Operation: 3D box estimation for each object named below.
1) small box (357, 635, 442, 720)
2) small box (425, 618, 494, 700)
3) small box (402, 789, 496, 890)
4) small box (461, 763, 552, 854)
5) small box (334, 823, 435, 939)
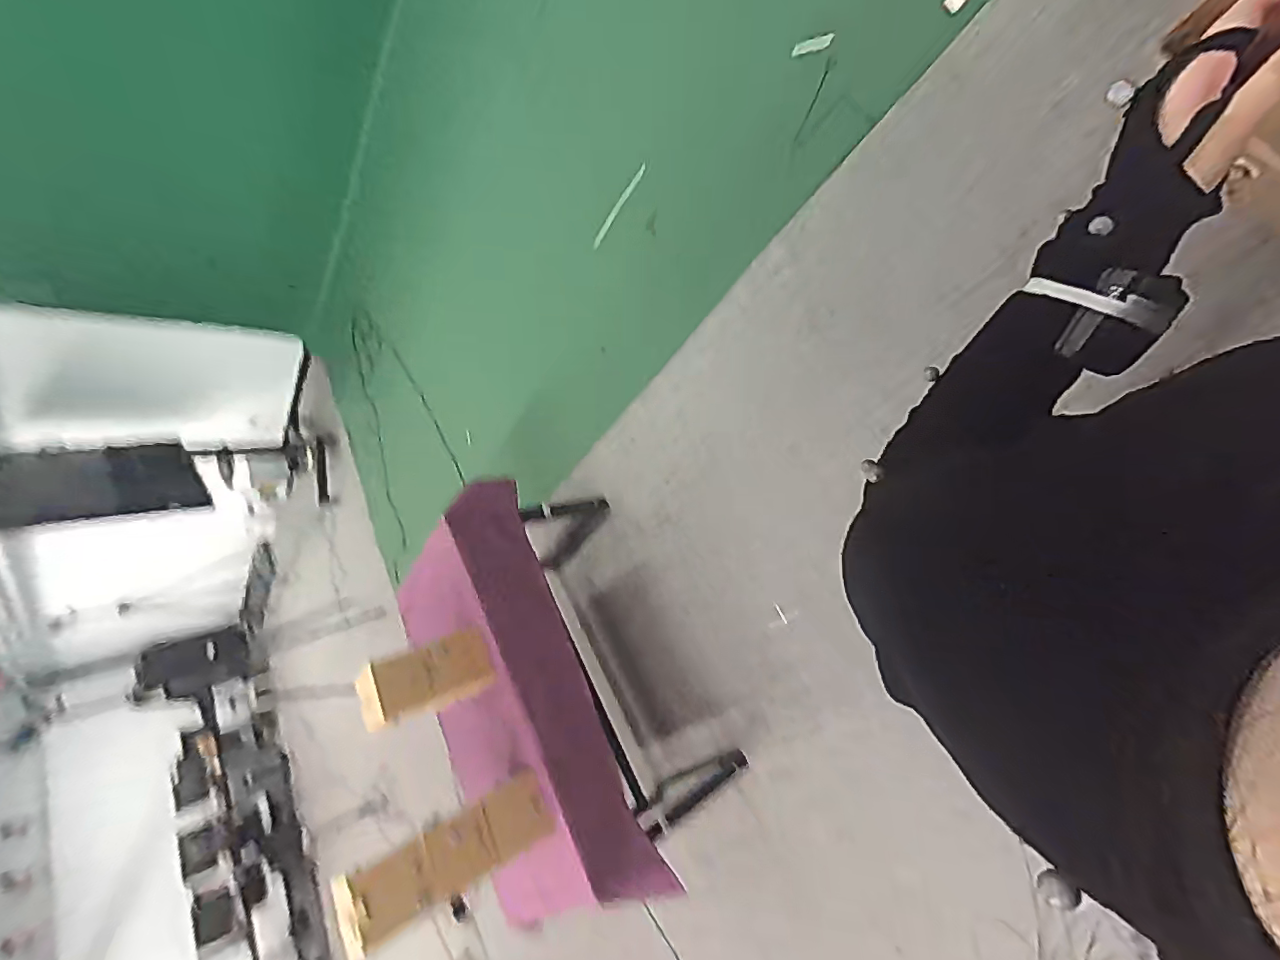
[{"bbox_3d":[-0.700,0.573,1.582,0.179,0.176,0.168,-41,66,40],"label":"small box"},{"bbox_3d":[-0.580,0.556,1.694,0.168,0.176,0.179,-43,64,39],"label":"small box"},{"bbox_3d":[-0.497,0.943,1.422,0.179,0.176,0.168,-43,64,40],"label":"small box"},{"bbox_3d":[-0.378,0.928,1.533,0.168,0.176,0.179,-45,63,39],"label":"small box"},{"bbox_3d":[-0.614,0.965,1.309,0.179,0.176,0.168,-47,62,39],"label":"small box"}]
